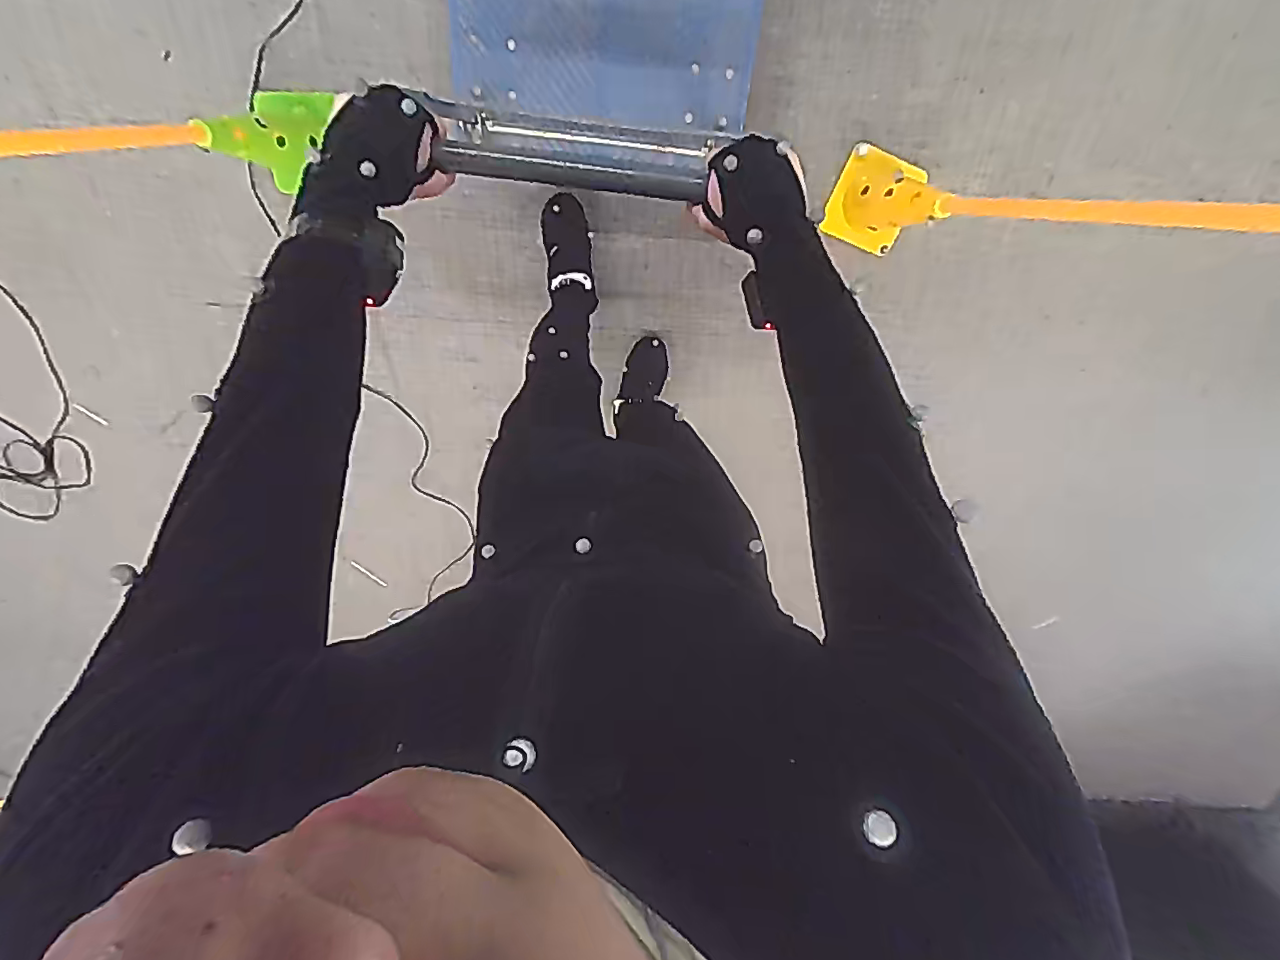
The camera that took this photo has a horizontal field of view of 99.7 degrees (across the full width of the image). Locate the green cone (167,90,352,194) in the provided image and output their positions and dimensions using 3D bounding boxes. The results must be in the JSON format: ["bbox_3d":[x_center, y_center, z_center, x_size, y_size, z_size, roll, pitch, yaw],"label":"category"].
[{"bbox_3d":[-0.775,-0.681,1.074,0.202,0.368,0.200,0,118,1],"label":"green cone"}]
